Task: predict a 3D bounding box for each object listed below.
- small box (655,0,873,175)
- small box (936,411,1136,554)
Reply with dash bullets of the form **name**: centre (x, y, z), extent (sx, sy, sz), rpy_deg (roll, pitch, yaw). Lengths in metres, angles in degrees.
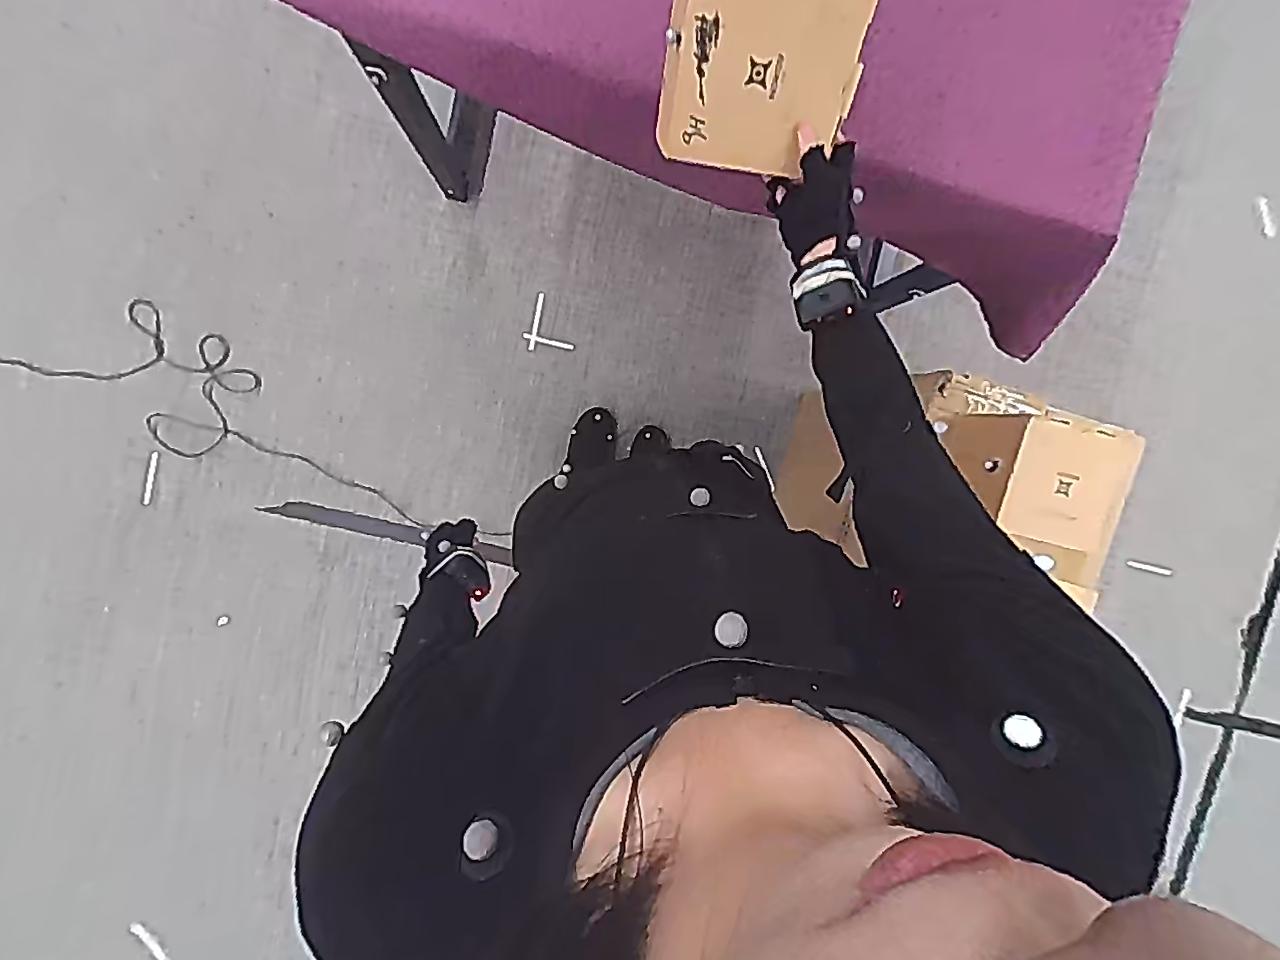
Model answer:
- **small box**: centre (0.117, -0.450, 0.589), extent (0.179, 0.176, 0.168), rpy_deg (5, 127, -6)
- **small box**: centre (0.605, -0.003, 0.852), extent (0.168, 0.176, 0.179), rpy_deg (14, 96, -4)
